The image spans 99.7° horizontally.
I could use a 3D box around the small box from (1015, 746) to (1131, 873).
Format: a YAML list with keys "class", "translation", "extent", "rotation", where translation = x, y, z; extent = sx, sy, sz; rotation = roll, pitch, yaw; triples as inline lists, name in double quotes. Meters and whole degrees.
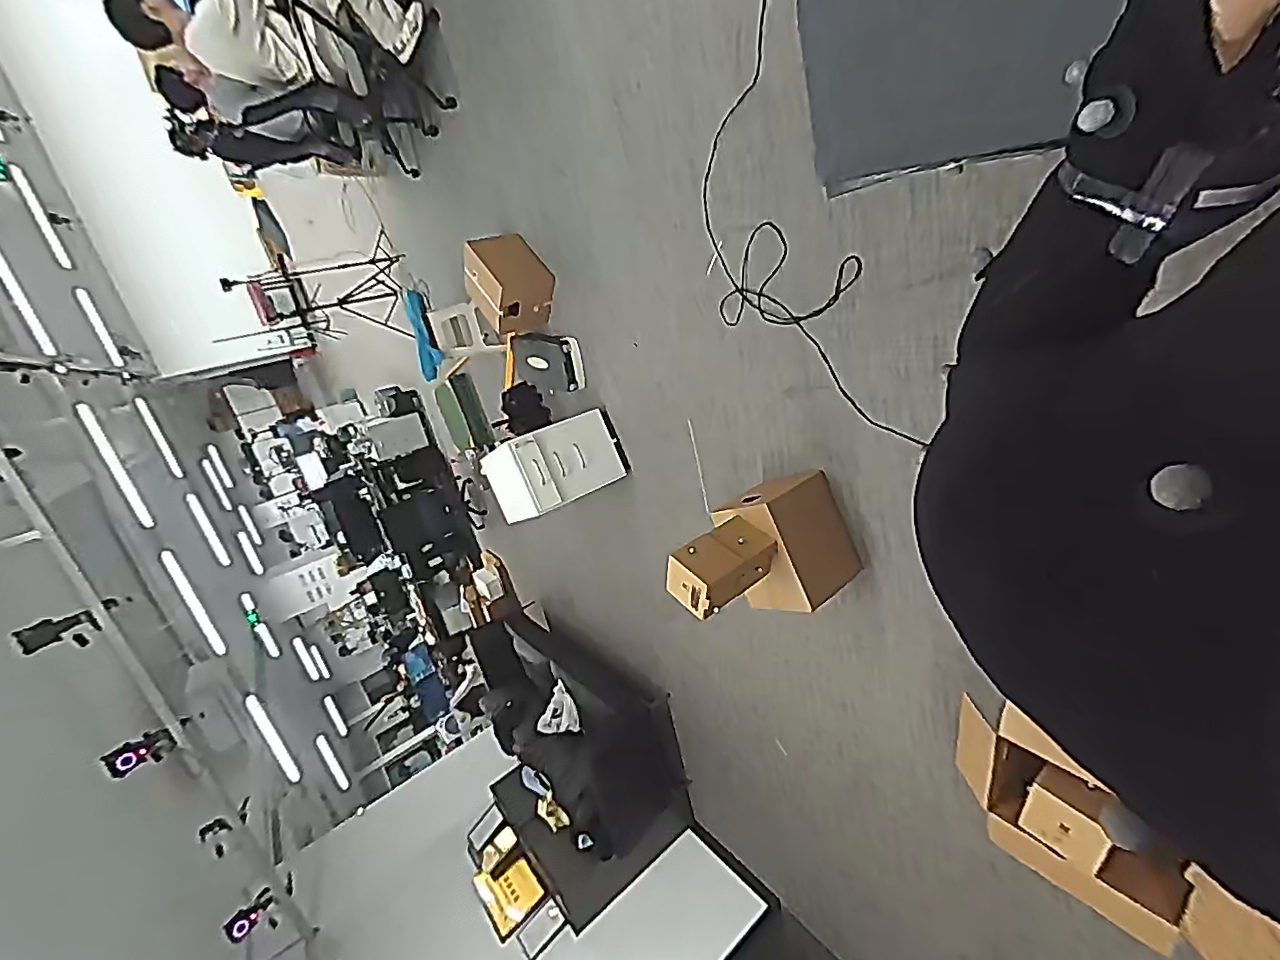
- class: "small box"
  translation: [1.083, 0.813, 1.352]
  extent: [0.168, 0.176, 0.179]
  rotation: [29, 134, 48]

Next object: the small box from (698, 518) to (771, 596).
- class: "small box"
  translation: [0.325, 0.255, 1.854]
  extent: [0.179, 0.176, 0.168]
  rotation: [35, 137, 36]
